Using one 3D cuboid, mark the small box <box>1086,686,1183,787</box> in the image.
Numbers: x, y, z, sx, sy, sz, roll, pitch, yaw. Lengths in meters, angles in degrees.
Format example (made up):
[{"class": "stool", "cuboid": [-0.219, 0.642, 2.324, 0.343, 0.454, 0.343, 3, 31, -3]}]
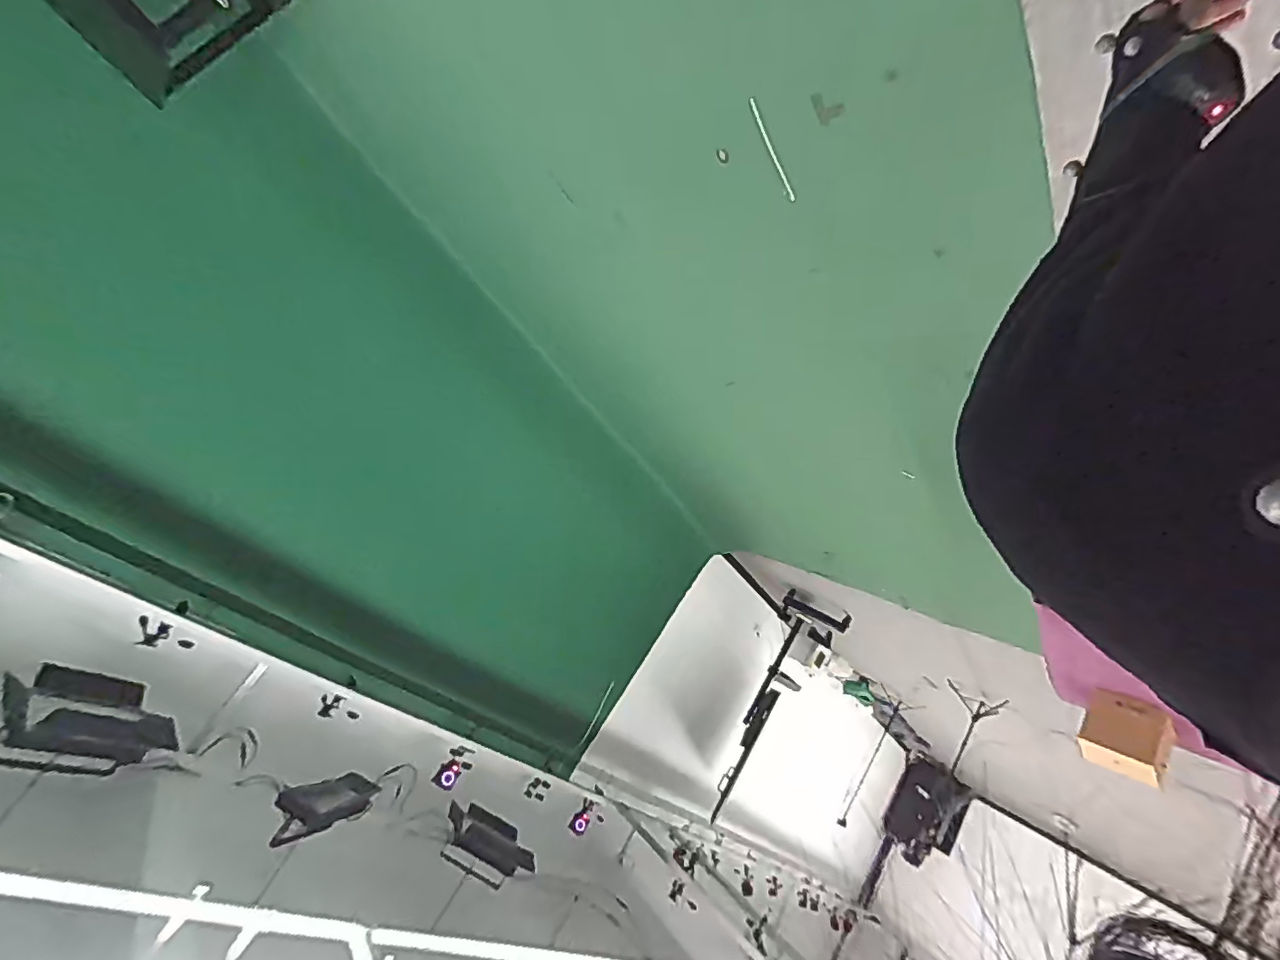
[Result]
[{"class": "small box", "cuboid": [1.404, 0.721, 1.532, 0.168, 0.176, 0.179, 10, 149, 53]}]
